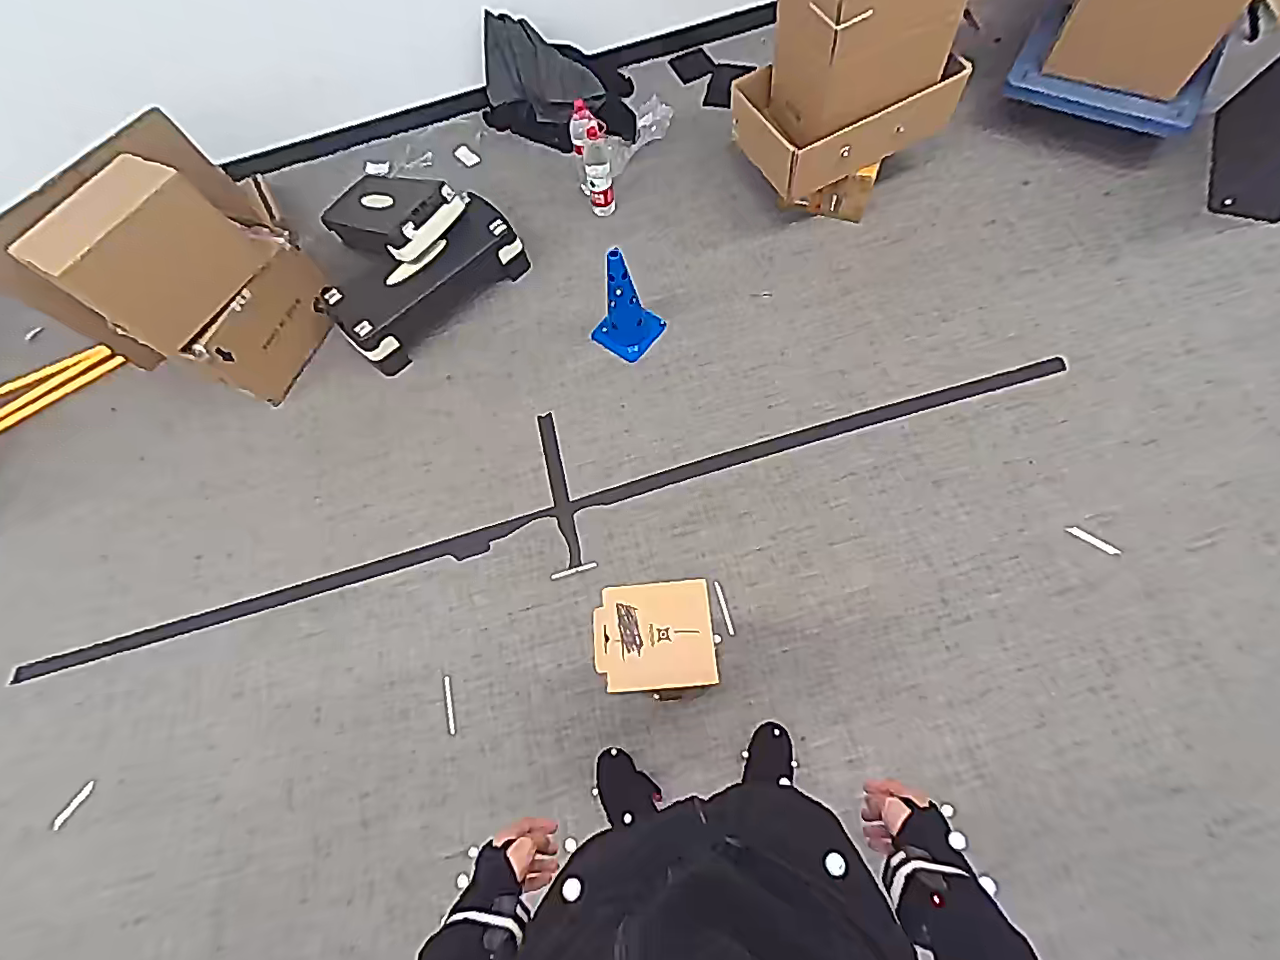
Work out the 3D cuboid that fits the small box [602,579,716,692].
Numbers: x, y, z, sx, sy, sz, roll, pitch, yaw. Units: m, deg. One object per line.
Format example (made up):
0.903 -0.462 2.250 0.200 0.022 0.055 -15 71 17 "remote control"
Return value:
0.035 0.274 0.937 0.179 0.176 0.168 -5 68 3 "small box"
